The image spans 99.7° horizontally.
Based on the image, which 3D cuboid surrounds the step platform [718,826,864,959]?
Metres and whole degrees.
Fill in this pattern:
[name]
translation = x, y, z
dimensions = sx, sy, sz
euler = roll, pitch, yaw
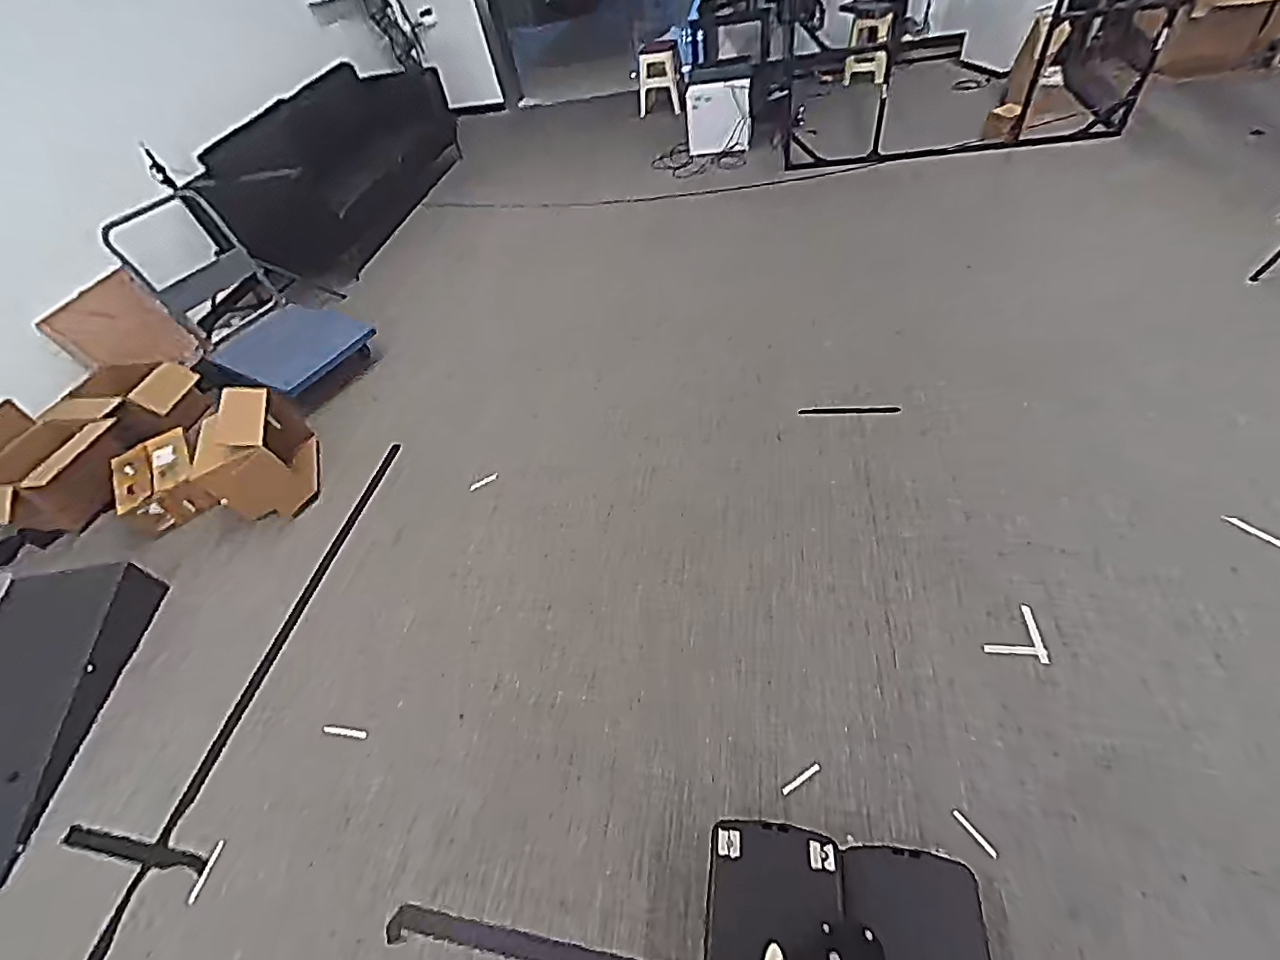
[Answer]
[step platform]
translation = 0.288, 1.077, 1.046
dimensions = 0.286, 0.204, 0.684
euler = 1, 49, 12
